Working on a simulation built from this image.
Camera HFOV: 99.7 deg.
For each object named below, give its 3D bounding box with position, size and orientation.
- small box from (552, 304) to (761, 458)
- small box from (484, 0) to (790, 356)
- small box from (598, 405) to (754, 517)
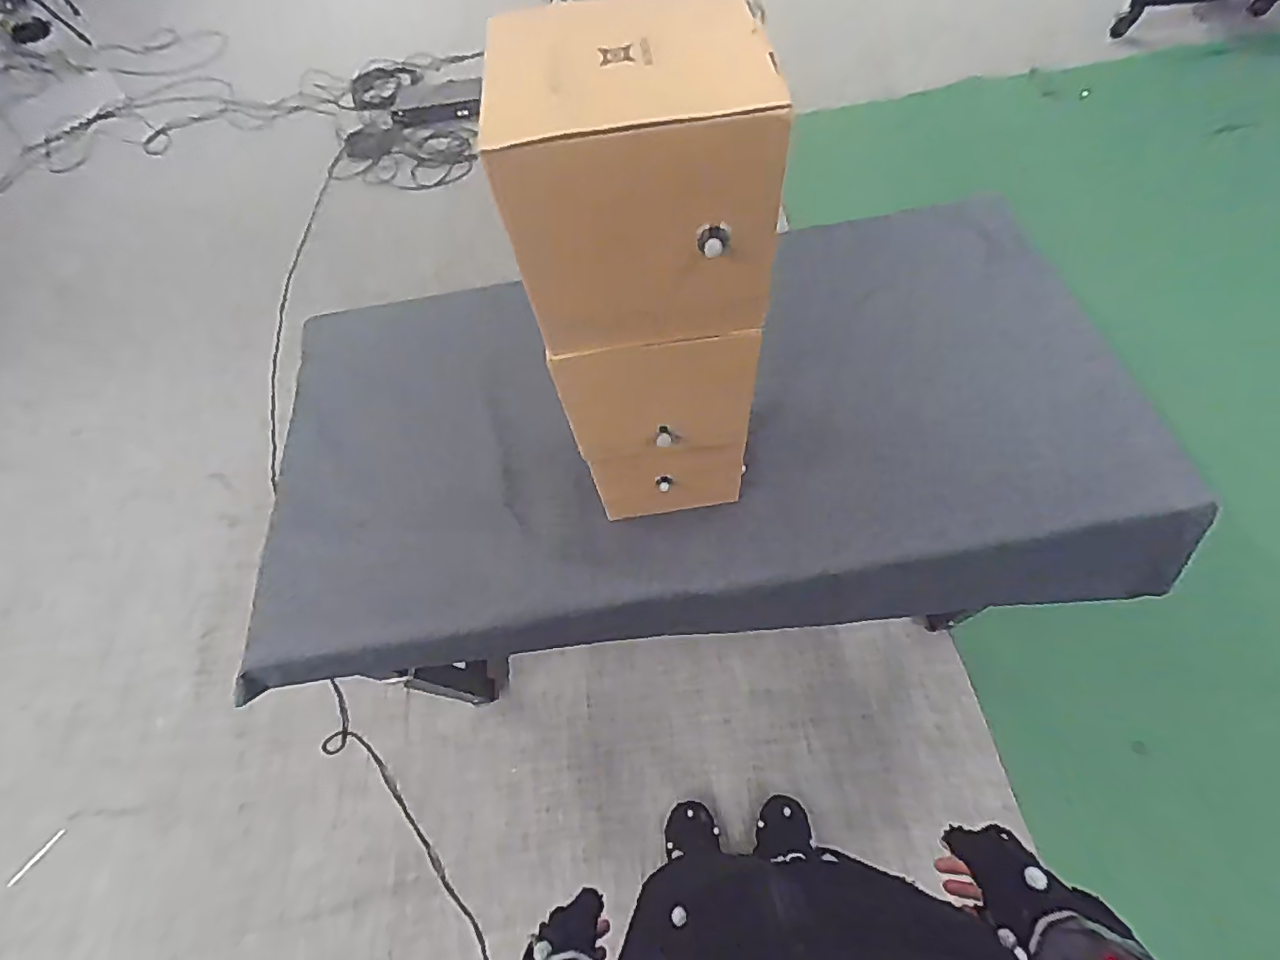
[{"bbox_3d":[0.012,-0.139,0.549,0.179,0.176,0.168,-8,61,2],"label":"small box"},{"bbox_3d":[-0.002,-0.218,0.407,0.179,0.176,0.168,-9,61,3],"label":"small box"},{"bbox_3d":[0.032,-0.069,0.695,0.179,0.176,0.168,-12,62,-1],"label":"small box"}]
